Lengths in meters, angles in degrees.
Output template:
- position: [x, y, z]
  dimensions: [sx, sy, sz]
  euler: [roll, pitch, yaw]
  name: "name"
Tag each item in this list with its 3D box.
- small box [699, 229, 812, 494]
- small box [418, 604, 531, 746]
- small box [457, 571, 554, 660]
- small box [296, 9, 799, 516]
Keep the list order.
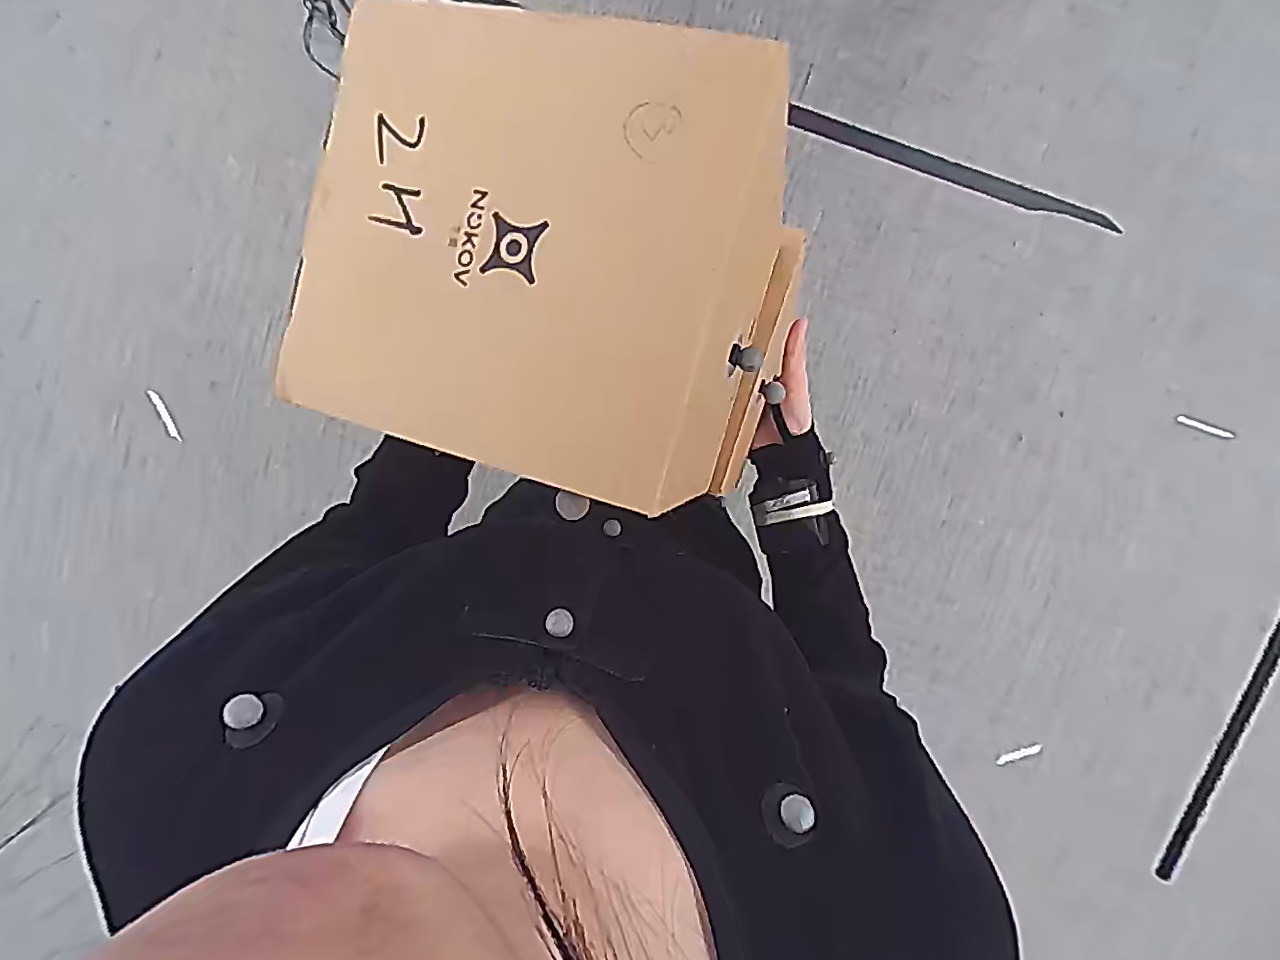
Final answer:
- position: [0.025, -0.099, 0.442]
  dimensions: [0.168, 0.176, 0.179]
  euler: [19, 96, 12]
  name: "small box"
- position: [-0.307, 0.345, 0.992]
  dimensions: [0.168, 0.176, 0.179]
  euler: [12, 97, 2]
  name: "small box"
- position: [-0.302, 0.313, 1.152]
  dimensions: [0.179, 0.176, 0.168]
  euler: [27, 95, 0]
  name: "small box"
- position: [-0.029, -0.090, 0.286]
  dimensions: [0.179, 0.176, 0.168]
  euler: [16, 95, 13]
  name: "small box"
